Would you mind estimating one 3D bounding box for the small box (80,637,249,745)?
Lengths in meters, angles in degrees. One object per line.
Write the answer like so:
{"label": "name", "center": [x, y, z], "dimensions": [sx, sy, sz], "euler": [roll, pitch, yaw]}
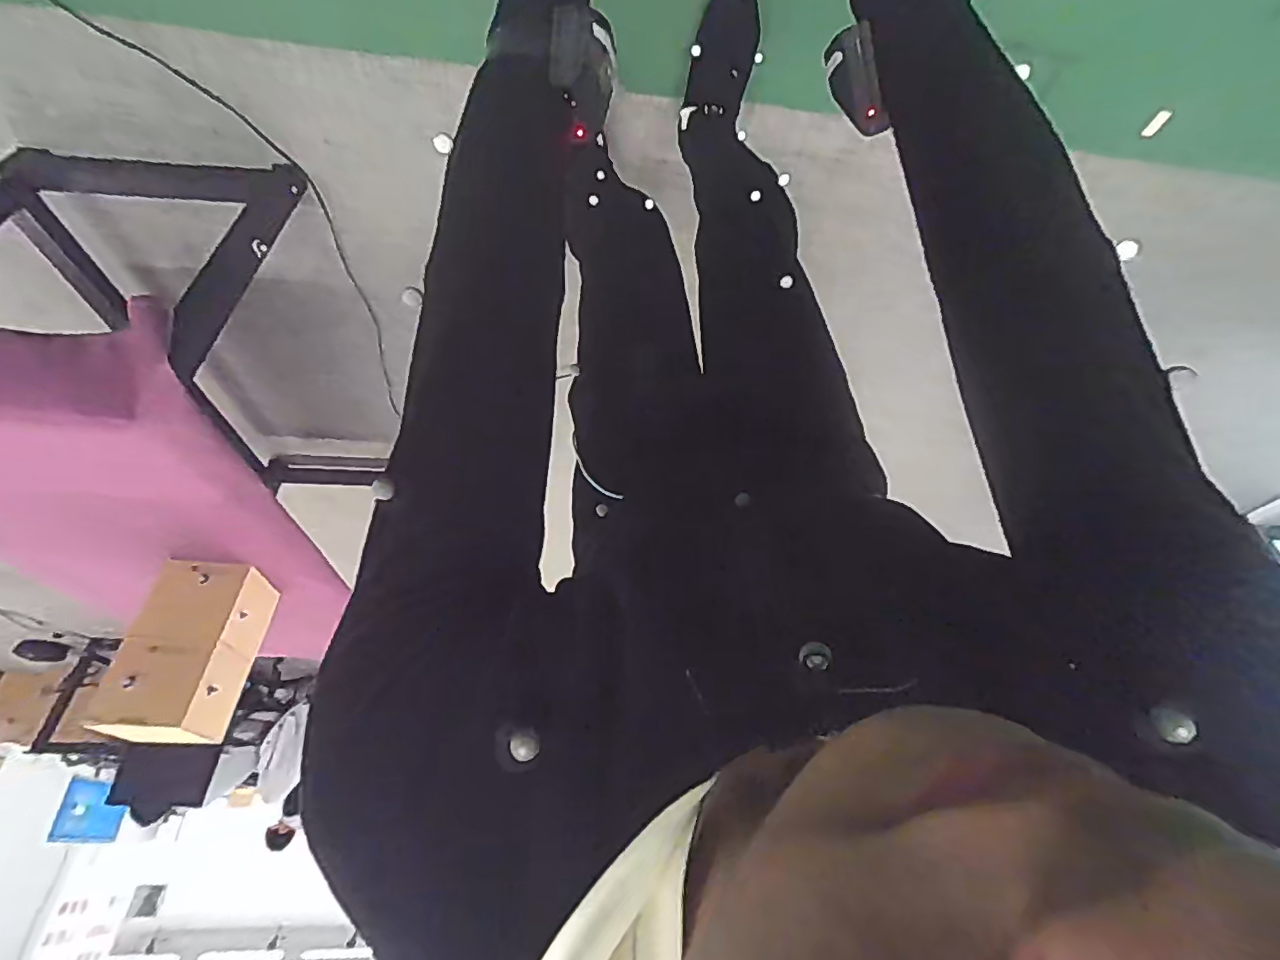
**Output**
{"label": "small box", "center": [-0.930, 0.423, 1.080], "dimensions": [0.168, 0.176, 0.179], "euler": [6, 144, -8]}
